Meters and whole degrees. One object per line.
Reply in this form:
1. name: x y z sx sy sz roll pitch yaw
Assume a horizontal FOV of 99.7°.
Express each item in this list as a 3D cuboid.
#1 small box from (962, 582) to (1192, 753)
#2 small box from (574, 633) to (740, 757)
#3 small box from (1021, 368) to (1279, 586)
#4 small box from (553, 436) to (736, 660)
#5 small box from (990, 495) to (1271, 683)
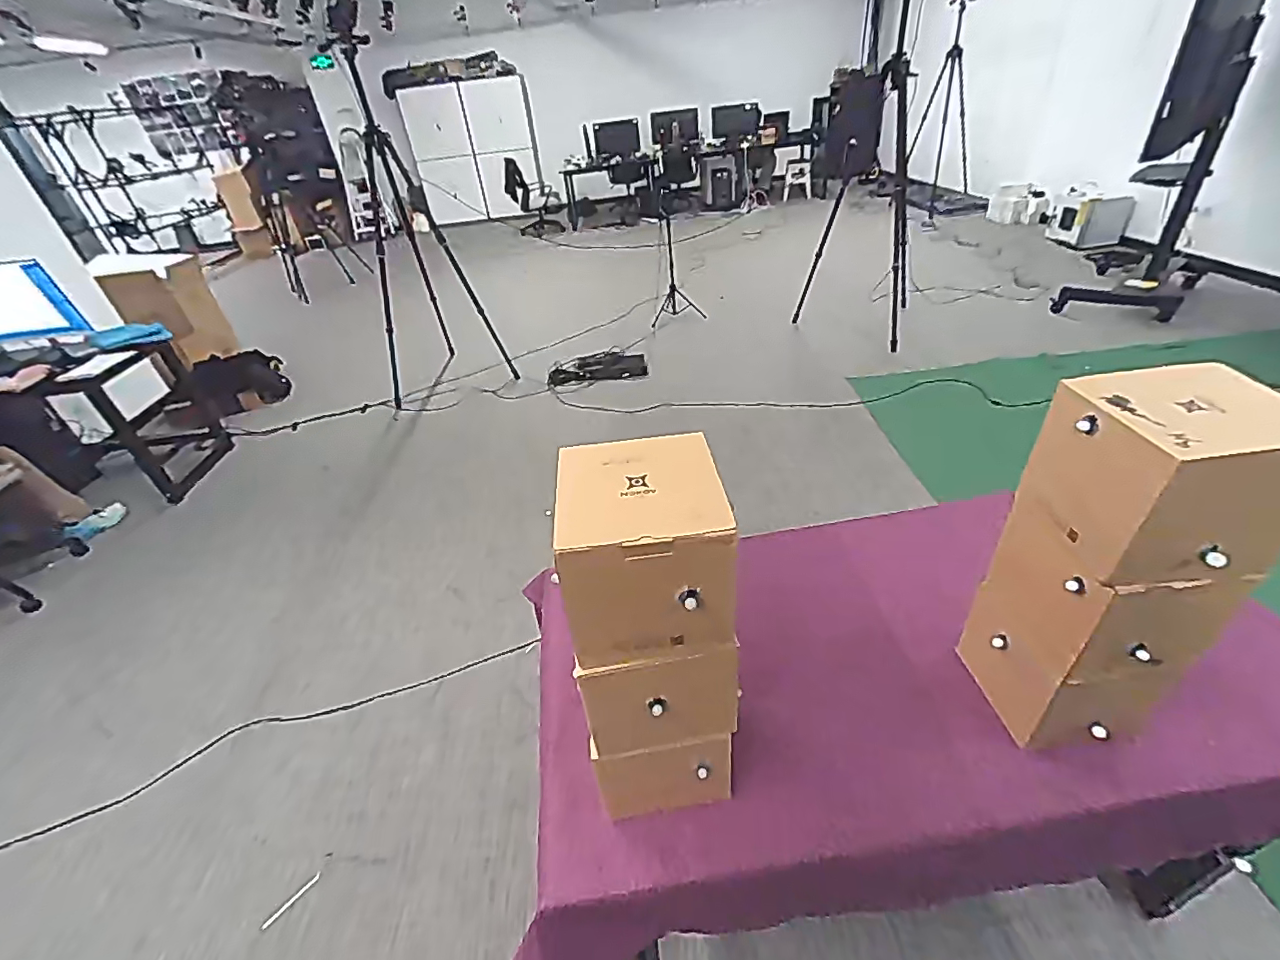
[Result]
1. small box: 0.601 0.259 0.779 0.168 0.176 0.179 -8 36 1
2. small box: 0.016 0.212 0.670 0.179 0.176 0.168 -10 36 -3
3. small box: 0.568 -0.003 0.586 0.179 0.176 0.168 -5 36 2
4. small box: 0.006 0.075 0.582 0.168 0.176 0.179 -6 35 -1
5. small box: 0.587 0.128 0.684 0.168 0.176 0.179 -7 36 1
